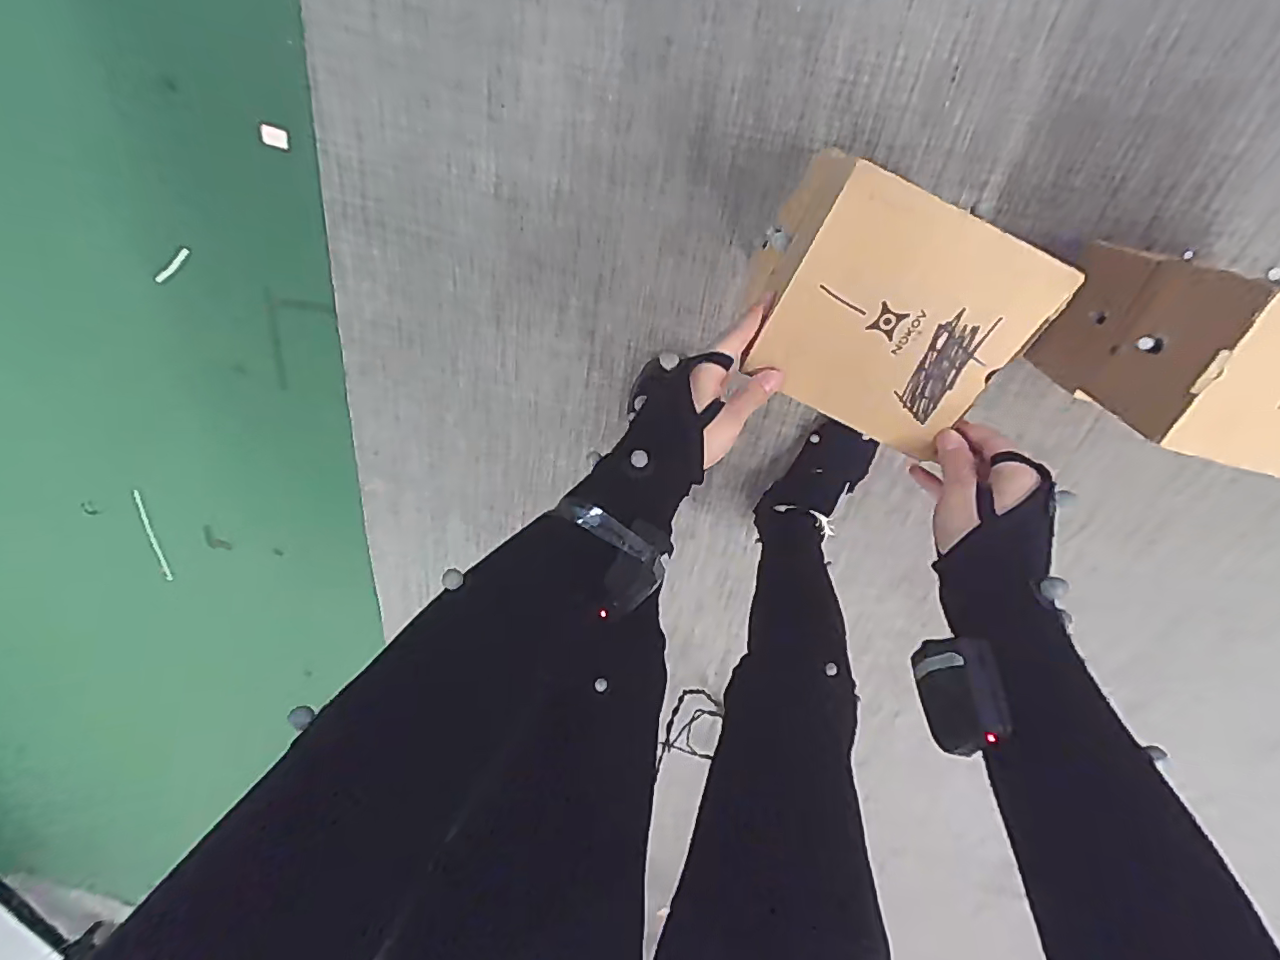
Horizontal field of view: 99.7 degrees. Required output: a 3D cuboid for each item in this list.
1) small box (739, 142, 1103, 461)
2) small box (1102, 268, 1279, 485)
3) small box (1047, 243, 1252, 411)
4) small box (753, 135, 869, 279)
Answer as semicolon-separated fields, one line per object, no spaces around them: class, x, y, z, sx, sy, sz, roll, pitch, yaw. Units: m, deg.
small box;0.202;-0.152;0.445;0.179;0.176;0.168;28;123;-3
small box;0.644;-0.107;0.557;0.179;0.176;0.168;18;123;4
small box;0.673;-0.188;0.697;0.168;0.176;0.179;16;122;5
small box;0.272;-0.320;0.717;0.168;0.176;0.179;33;122;-7
